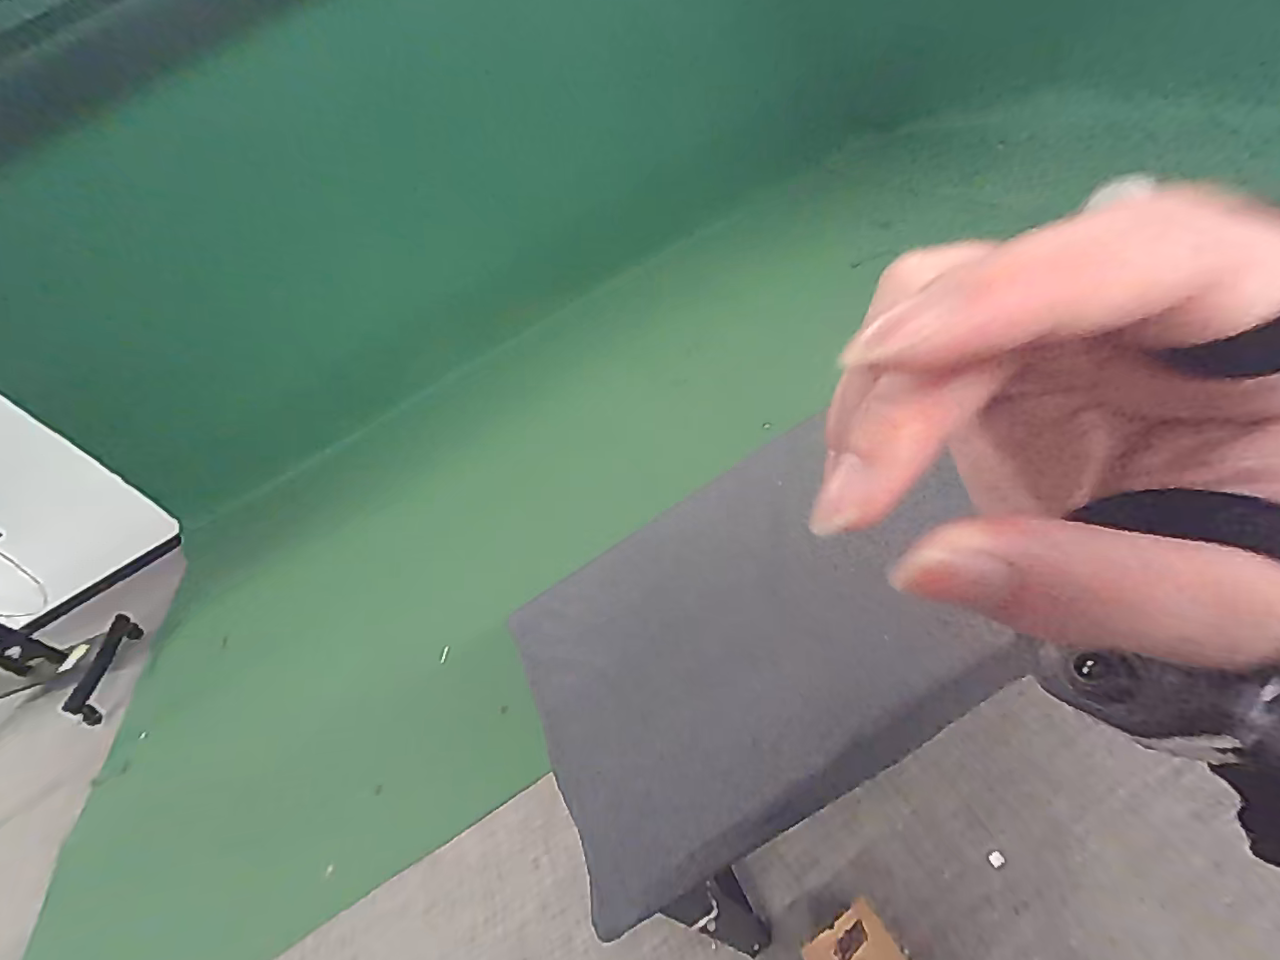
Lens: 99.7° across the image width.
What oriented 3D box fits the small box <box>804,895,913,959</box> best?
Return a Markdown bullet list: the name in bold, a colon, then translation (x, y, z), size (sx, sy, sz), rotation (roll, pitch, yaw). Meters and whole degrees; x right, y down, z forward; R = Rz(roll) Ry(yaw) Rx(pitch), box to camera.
- **small box**: translation (0.451, 0.965, 1.052), size (0.168, 0.176, 0.179), rotation (-35, 41, -6)
